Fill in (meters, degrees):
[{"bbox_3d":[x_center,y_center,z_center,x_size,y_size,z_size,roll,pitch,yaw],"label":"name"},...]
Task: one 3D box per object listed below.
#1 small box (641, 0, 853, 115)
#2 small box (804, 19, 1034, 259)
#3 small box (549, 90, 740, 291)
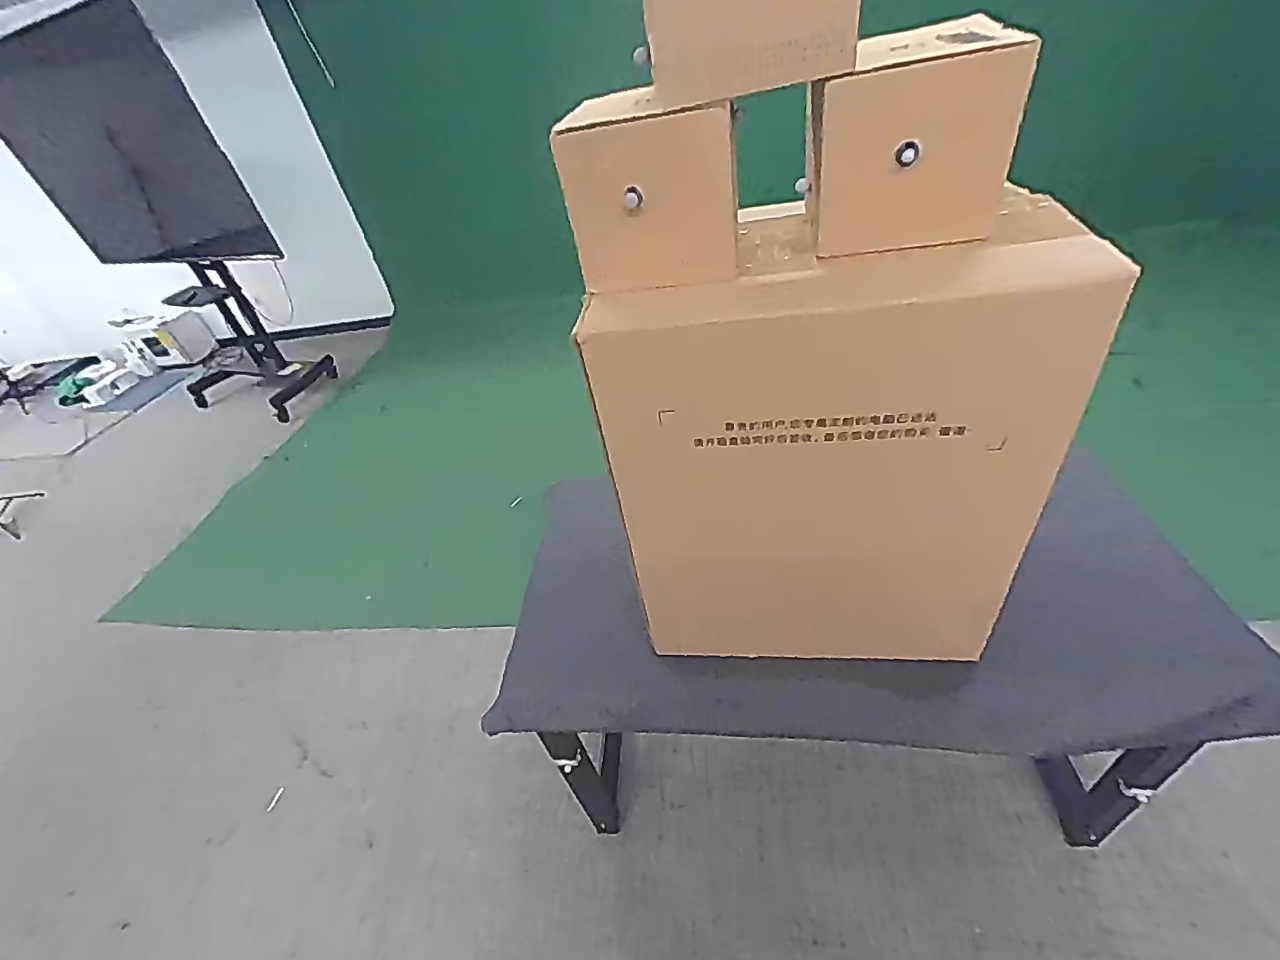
[{"bbox_3d":[0.089,-0.457,0.493,0.179,0.176,0.168,-10,41,5],"label":"small box"},{"bbox_3d":[0.274,-0.359,0.581,0.179,0.176,0.168,-2,44,14],"label":"small box"},{"bbox_3d":[0.020,-0.331,0.619,0.179,0.176,0.168,-1,44,13],"label":"small box"}]
